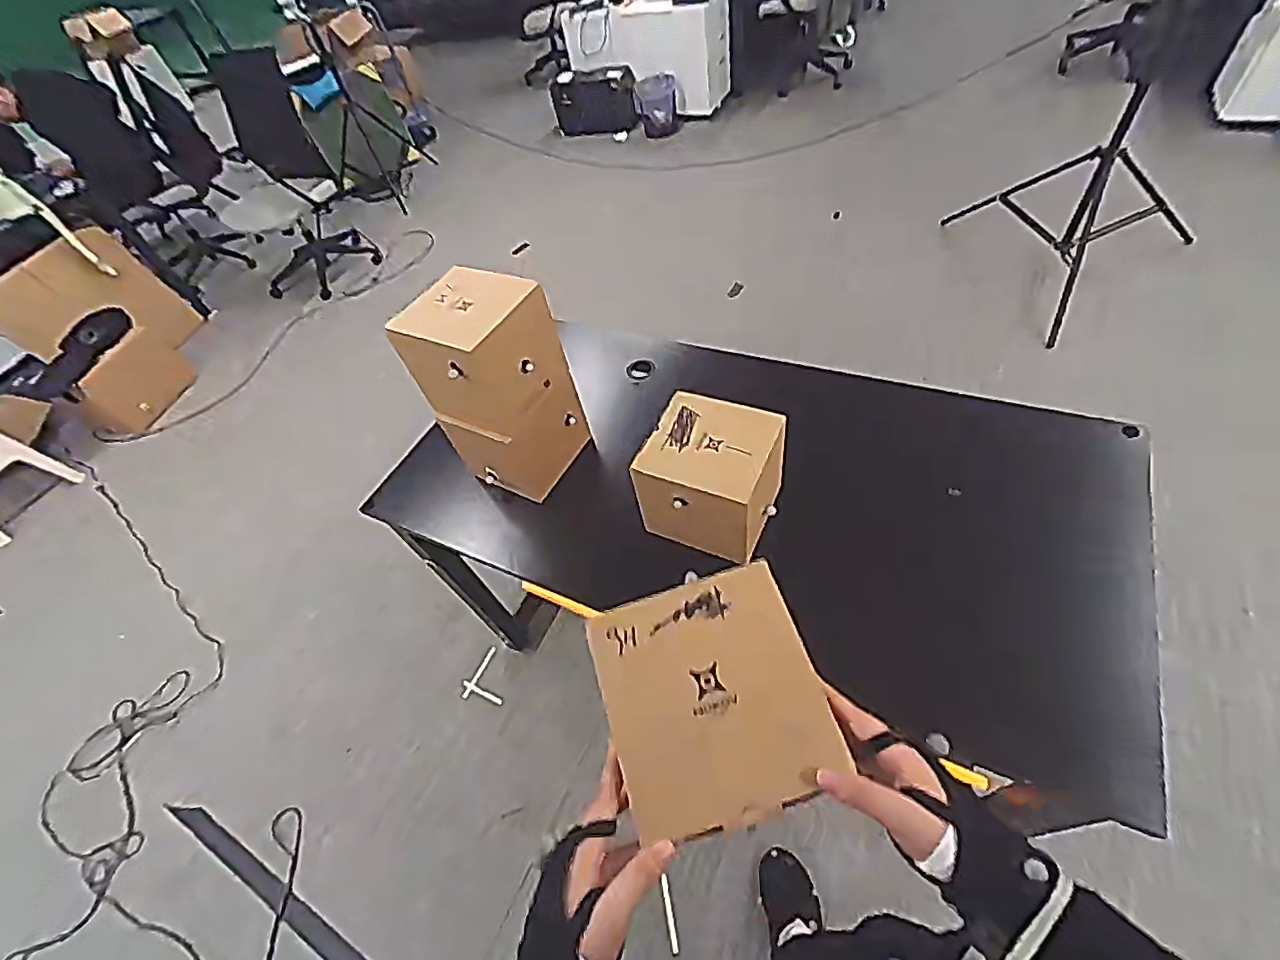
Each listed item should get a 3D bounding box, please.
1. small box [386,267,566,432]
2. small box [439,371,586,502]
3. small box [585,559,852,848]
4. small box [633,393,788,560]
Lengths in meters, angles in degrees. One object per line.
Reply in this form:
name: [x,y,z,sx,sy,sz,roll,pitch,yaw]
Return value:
small box: [-0.239,-0.198,0.836,0.179,0.176,0.168,19,58,25]
small box: [-0.212,-0.092,0.961,0.168,0.176,0.179,19,60,25]
small box: [0.063,0.196,0.494,0.168,0.176,0.179,-18,65,-2]
small box: [0.111,-0.002,0.825,0.179,0.176,0.168,18,59,22]
